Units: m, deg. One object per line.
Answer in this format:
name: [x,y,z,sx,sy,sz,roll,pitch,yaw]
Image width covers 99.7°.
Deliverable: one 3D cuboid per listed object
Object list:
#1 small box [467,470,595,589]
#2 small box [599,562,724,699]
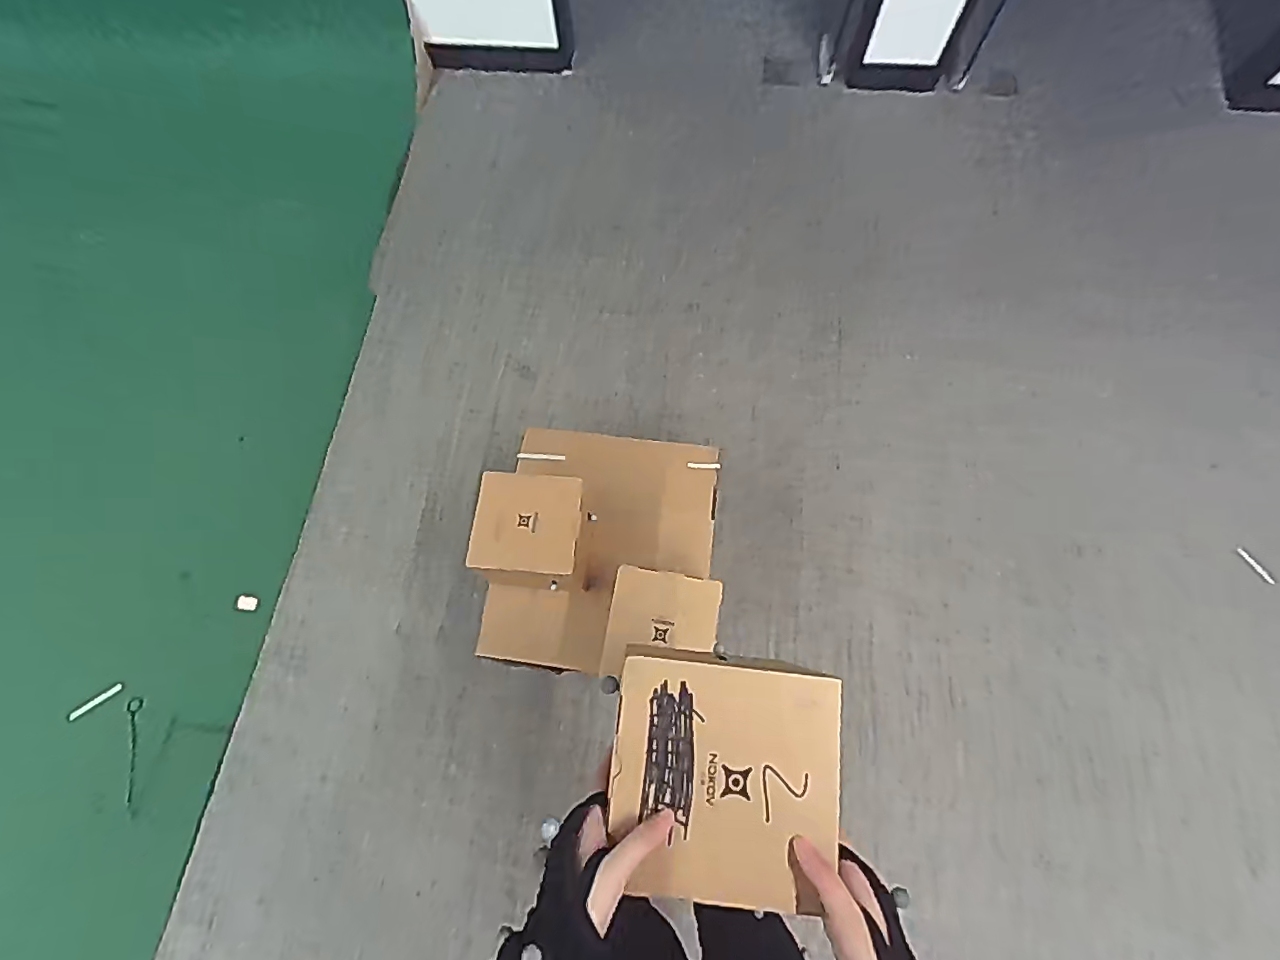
small box: [-0.179,0.093,0.952,0.179,0.176,0.168,4,69,4]
small box: [0.034,0.249,0.887,0.168,0.176,0.179,10,71,5]
